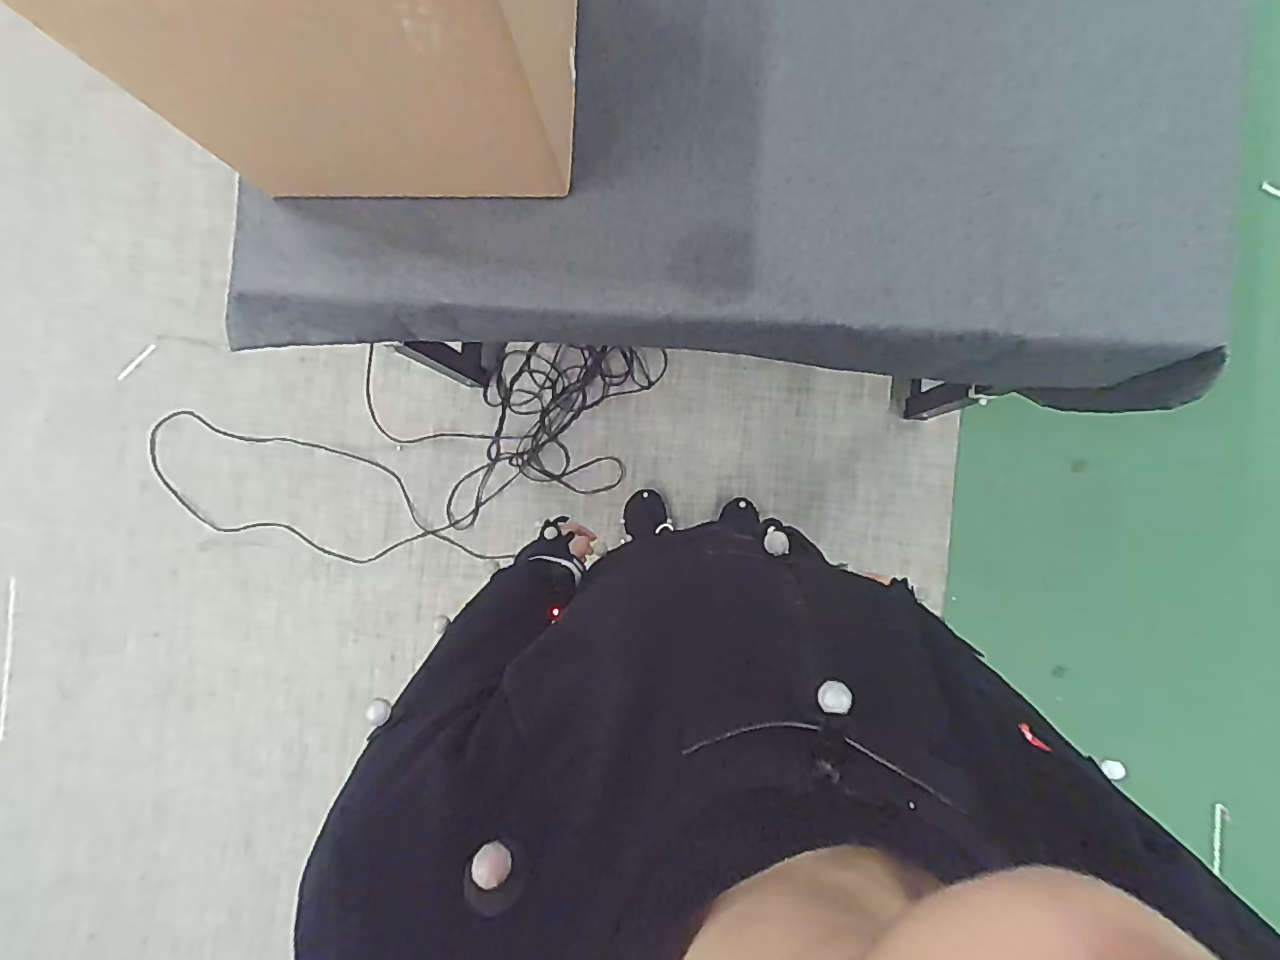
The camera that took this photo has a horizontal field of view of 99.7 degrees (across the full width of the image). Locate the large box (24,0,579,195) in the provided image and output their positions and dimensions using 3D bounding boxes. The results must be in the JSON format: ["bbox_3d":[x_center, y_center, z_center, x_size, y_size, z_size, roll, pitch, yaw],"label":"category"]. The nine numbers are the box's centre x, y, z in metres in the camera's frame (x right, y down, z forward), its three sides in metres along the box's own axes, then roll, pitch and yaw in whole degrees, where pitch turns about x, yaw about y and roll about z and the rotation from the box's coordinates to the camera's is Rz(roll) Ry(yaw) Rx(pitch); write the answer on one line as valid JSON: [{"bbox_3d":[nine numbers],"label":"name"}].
[{"bbox_3d":[-0.285,-0.521,0.544,0.408,0.320,0.320,1,89,3],"label":"large box"}]
